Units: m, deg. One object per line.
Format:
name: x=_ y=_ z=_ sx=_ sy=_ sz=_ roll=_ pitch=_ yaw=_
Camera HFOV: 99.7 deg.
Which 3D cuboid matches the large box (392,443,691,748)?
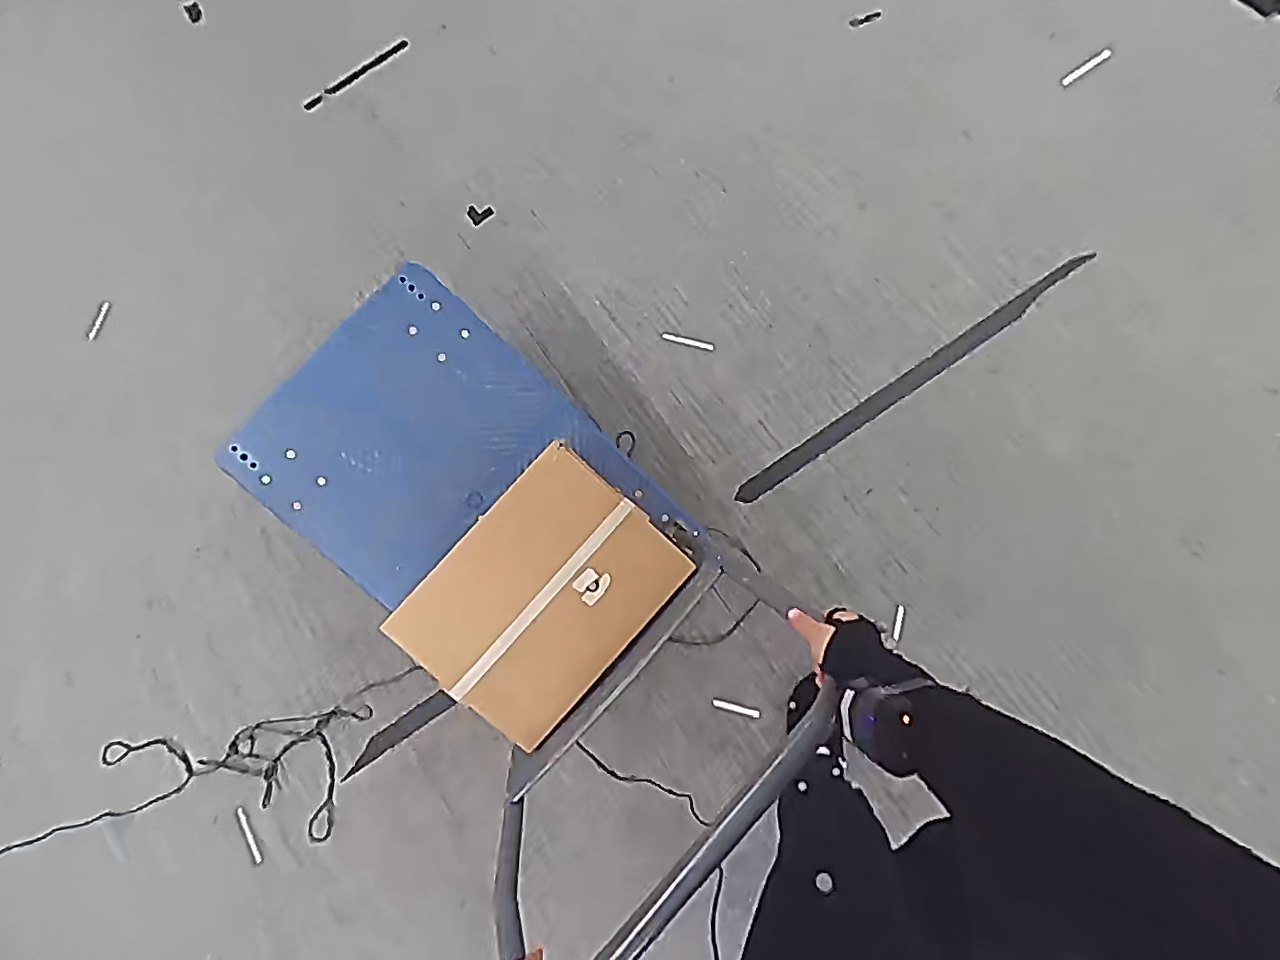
large box: x=-0.170 y=0.189 z=1.020 sx=0.320 sy=0.320 sz=0.408 roll=42 pitch=85 yaw=-6
